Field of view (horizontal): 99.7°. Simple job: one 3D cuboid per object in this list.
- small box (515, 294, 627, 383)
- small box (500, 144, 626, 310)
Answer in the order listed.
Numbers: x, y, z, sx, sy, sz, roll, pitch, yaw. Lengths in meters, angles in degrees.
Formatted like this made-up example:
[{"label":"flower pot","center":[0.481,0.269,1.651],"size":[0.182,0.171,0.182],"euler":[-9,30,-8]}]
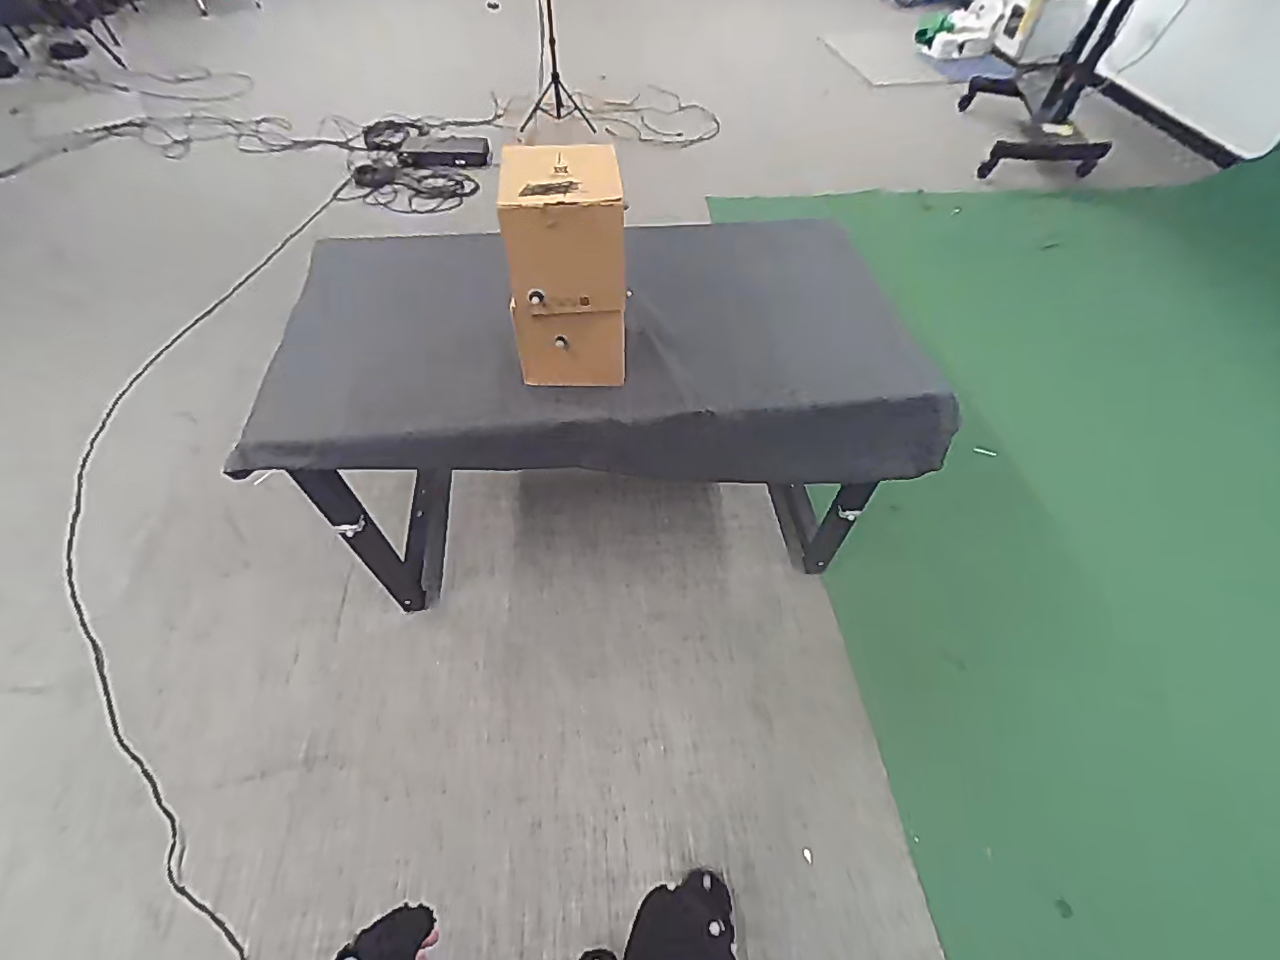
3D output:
[{"label":"small box","center":[-0.113,-0.285,0.957],"size":[0.179,0.176,0.168],"euler":[-2,52,-3]},{"label":"small box","center":[-0.112,-0.373,0.814],"size":[0.168,0.176,0.179],"euler":[-7,55,-5]}]
